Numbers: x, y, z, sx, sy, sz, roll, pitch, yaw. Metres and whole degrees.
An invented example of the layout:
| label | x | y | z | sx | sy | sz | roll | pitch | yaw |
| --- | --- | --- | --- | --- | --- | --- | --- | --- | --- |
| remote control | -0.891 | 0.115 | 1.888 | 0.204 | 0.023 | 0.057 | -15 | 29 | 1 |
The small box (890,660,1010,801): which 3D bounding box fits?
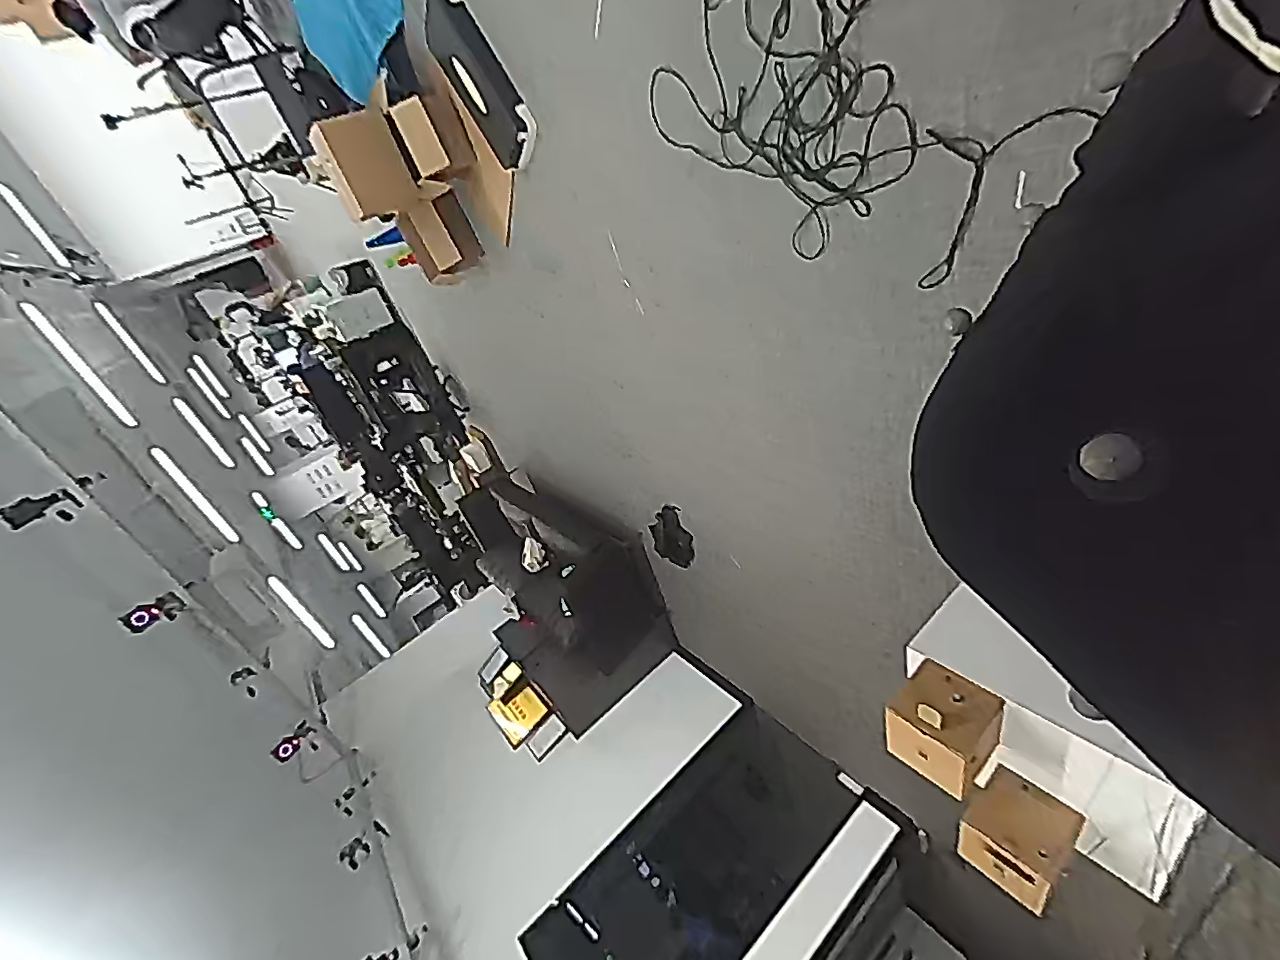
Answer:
| label | x | y | z | sx | sy | sz | roll | pitch | yaw |
| --- | --- | --- | --- | --- | --- | --- | --- | --- | --- |
| small box | 0.665 | 0.531 | 1.163 | 0.168 | 0.176 | 0.179 | 26 | 143 | 49 |
